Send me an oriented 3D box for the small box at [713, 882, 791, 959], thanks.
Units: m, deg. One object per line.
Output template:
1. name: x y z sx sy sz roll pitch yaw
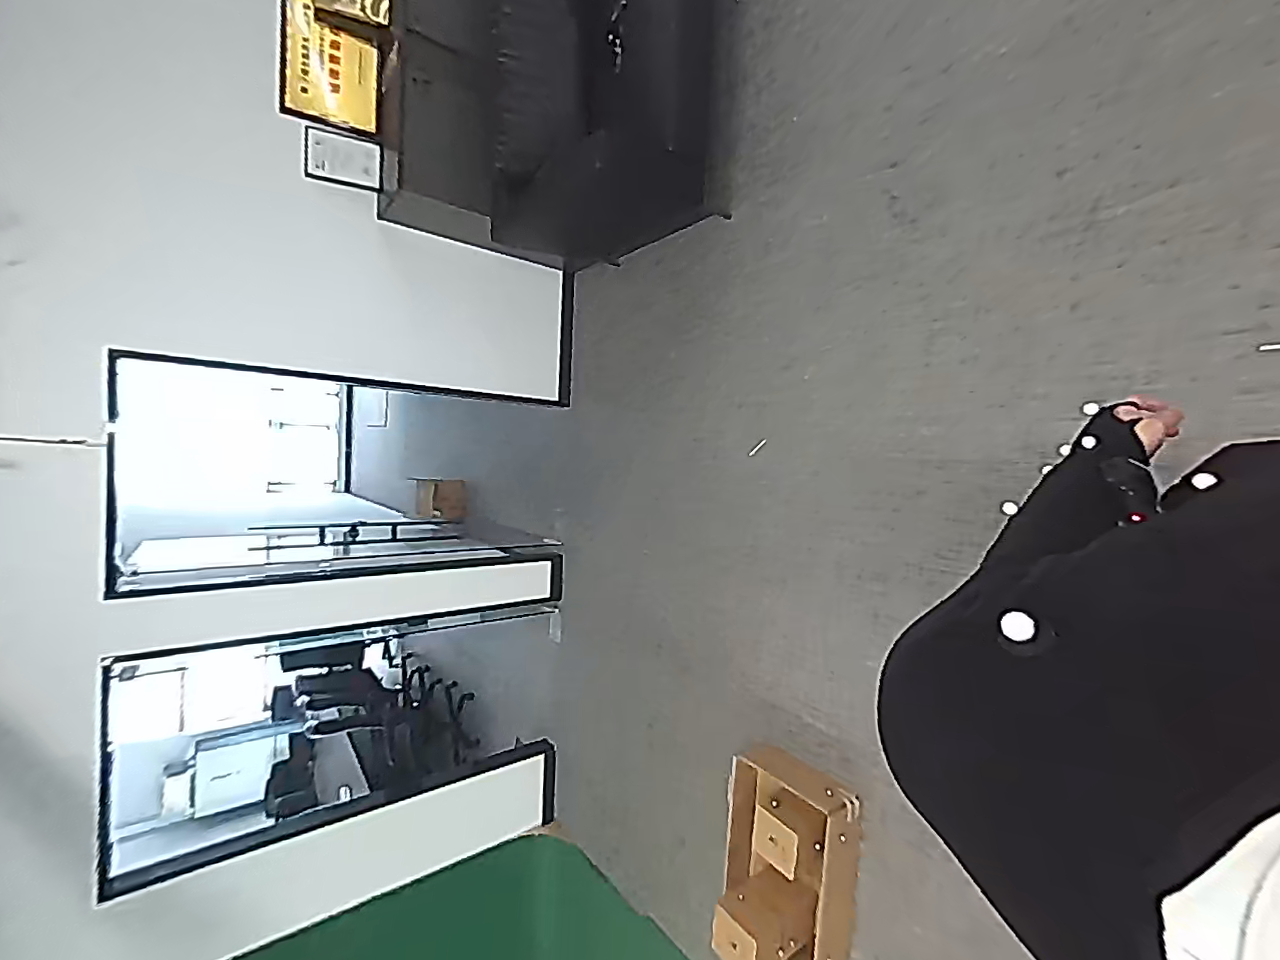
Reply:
1. small box: 0.366 1.466 1.770 0.179 0.176 0.168 10 97 51

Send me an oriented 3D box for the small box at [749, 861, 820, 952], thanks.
1. small box: 0.492 1.468 1.873 0.179 0.176 0.168 11 98 52
